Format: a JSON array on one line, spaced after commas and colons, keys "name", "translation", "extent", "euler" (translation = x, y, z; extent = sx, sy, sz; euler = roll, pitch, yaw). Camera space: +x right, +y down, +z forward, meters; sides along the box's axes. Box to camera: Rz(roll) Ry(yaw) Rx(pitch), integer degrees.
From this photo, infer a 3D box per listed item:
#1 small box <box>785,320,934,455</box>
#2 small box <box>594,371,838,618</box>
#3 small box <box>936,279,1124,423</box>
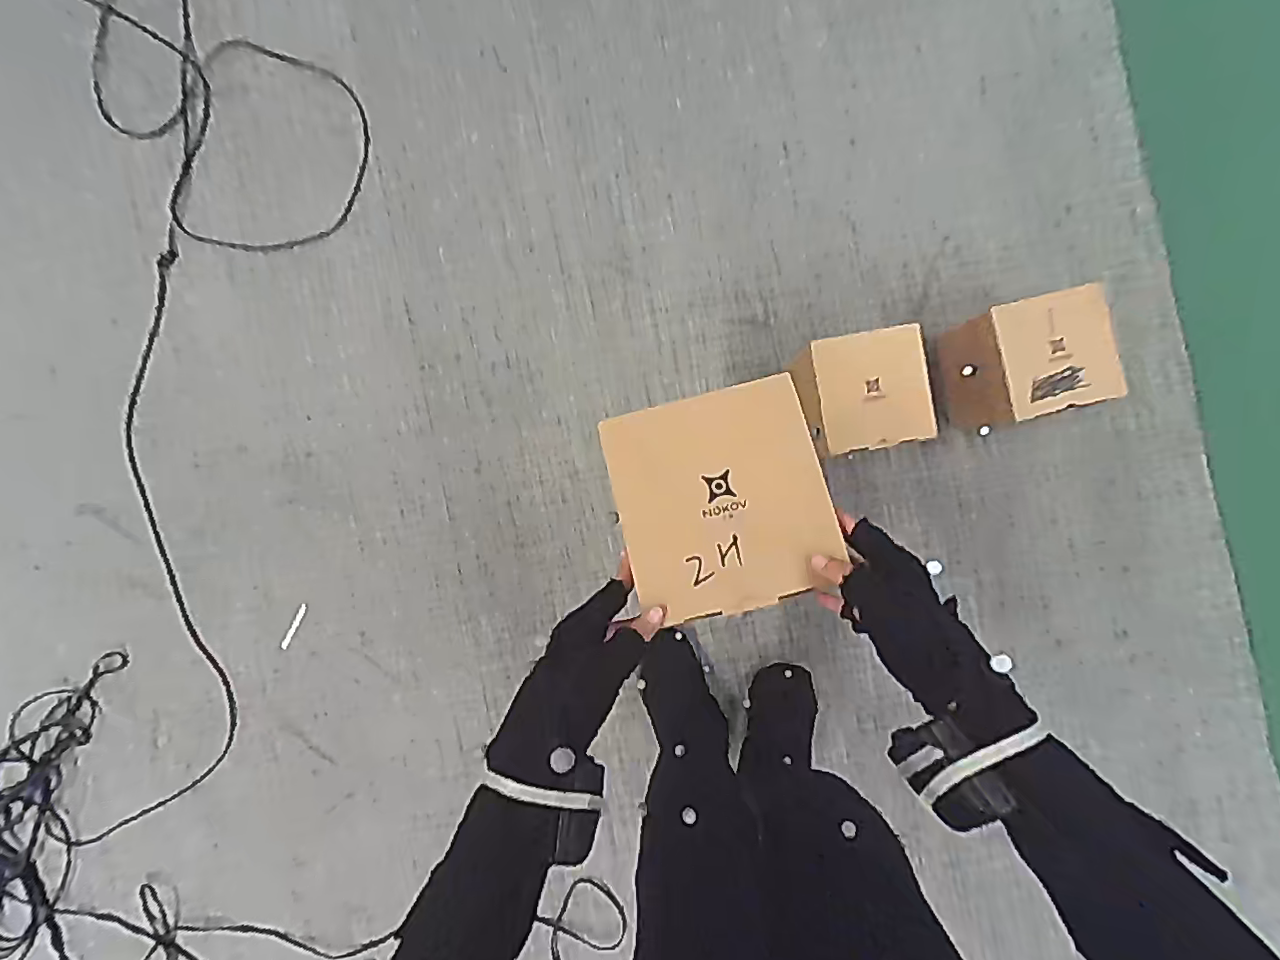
[{"name": "small box", "translation": [0.346, -0.141, 0.883], "extent": [0.168, 0.176, 0.179], "euler": [-10, 91, 3]}, {"name": "small box", "translation": [0.063, 0.024, 0.516], "extent": [0.168, 0.176, 0.179], "euler": [-14, 79, 3]}, {"name": "small box", "translation": [0.609, -0.193, 0.868], "extent": [0.168, 0.176, 0.179], "euler": [-13, 89, 3]}]
